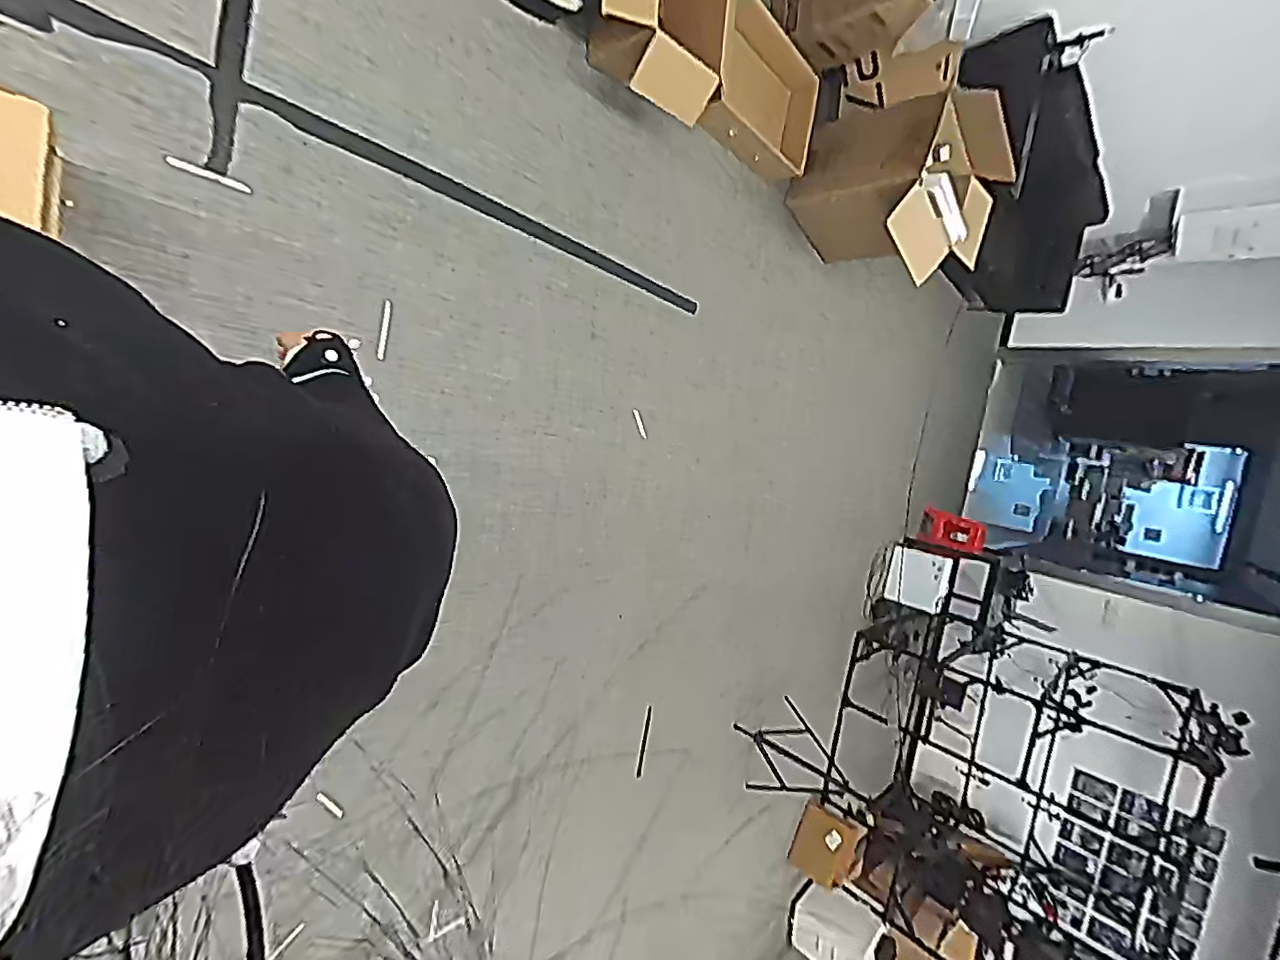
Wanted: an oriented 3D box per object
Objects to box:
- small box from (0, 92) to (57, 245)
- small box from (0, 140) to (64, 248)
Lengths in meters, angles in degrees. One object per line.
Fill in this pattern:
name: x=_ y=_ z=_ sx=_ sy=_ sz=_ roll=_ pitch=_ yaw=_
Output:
small box: x=-0.959 y=-0.457 z=0.768 sx=0.168 sy=0.176 sz=0.179 roll=5 pitch=98 yaw=-45
small box: x=-1.070 y=-0.491 z=0.880 sx=0.179 sy=0.176 sz=0.168 roll=4 pitch=98 yaw=-46
